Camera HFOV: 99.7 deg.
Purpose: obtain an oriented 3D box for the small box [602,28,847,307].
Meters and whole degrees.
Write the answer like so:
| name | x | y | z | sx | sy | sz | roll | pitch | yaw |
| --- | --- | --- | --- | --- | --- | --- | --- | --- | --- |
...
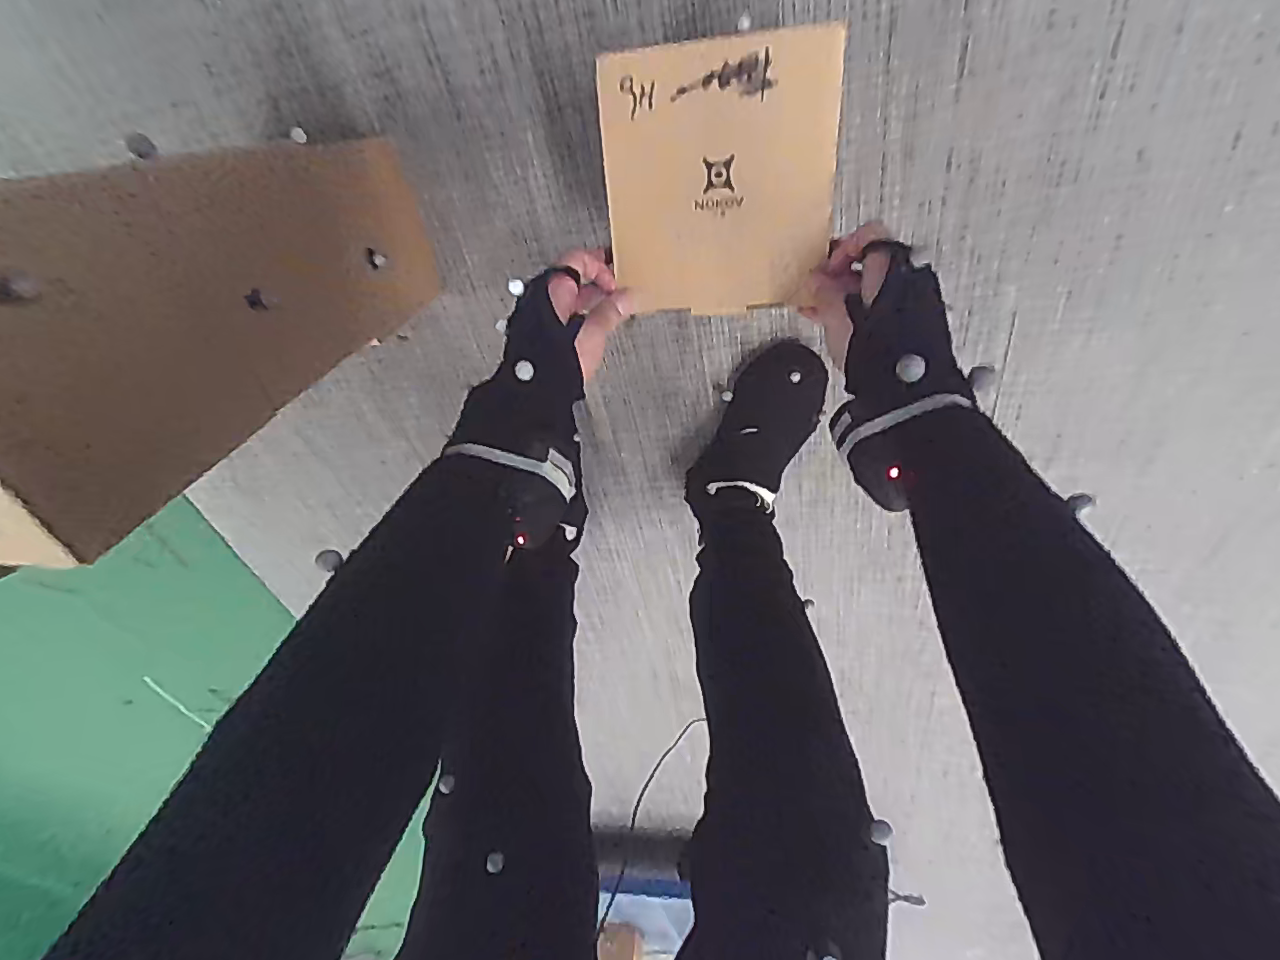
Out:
| name | x | y | z | sx | sy | sz | roll | pitch | yaw |
| --- | --- | --- | --- | --- | --- | --- | --- | --- | --- |
| small box | 0.071 | -0.261 | 0.470 | 0.168 | 0.176 | 0.179 | 1 | 121 | 9 |

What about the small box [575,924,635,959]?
| name | x | y | z | sx | sy | sz | roll | pitch | yaw |
| --- | --- | --- | --- | --- | --- | --- | --- | --- | --- |
| small box | -0.113 | 1.563 | 1.735 | 0.168 | 0.176 | 0.179 | -2 | 127 | 10 |

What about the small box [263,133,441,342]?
| name | x | y | z | sx | sy | sz | roll | pitch | yaw |
| --- | --- | --- | --- | --- | --- | --- | --- | --- | --- |
| small box | -0.346 | -0.265 | 0.593 | 0.168 | 0.176 | 0.179 | -1 | 126 | 9 |
